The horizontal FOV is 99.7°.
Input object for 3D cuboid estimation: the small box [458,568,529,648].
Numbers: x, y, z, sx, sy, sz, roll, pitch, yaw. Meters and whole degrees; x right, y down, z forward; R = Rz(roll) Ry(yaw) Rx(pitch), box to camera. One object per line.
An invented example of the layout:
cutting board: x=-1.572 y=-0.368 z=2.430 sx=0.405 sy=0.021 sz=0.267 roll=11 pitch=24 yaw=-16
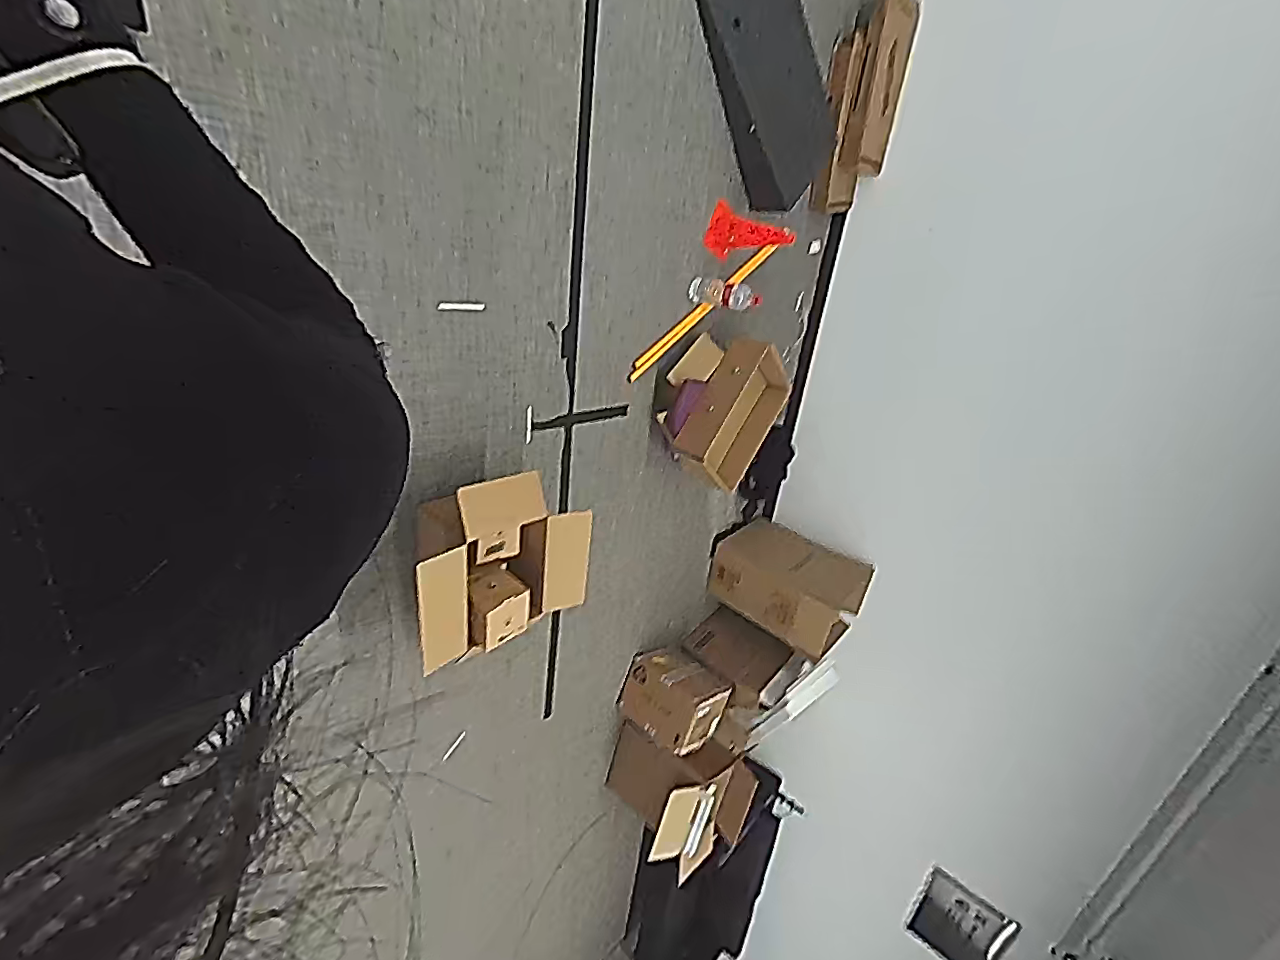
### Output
small box: x=-0.488 y=0.413 z=1.792 sx=0.168 sy=0.176 sz=0.179 roll=-23 pitch=131 yaw=-45
